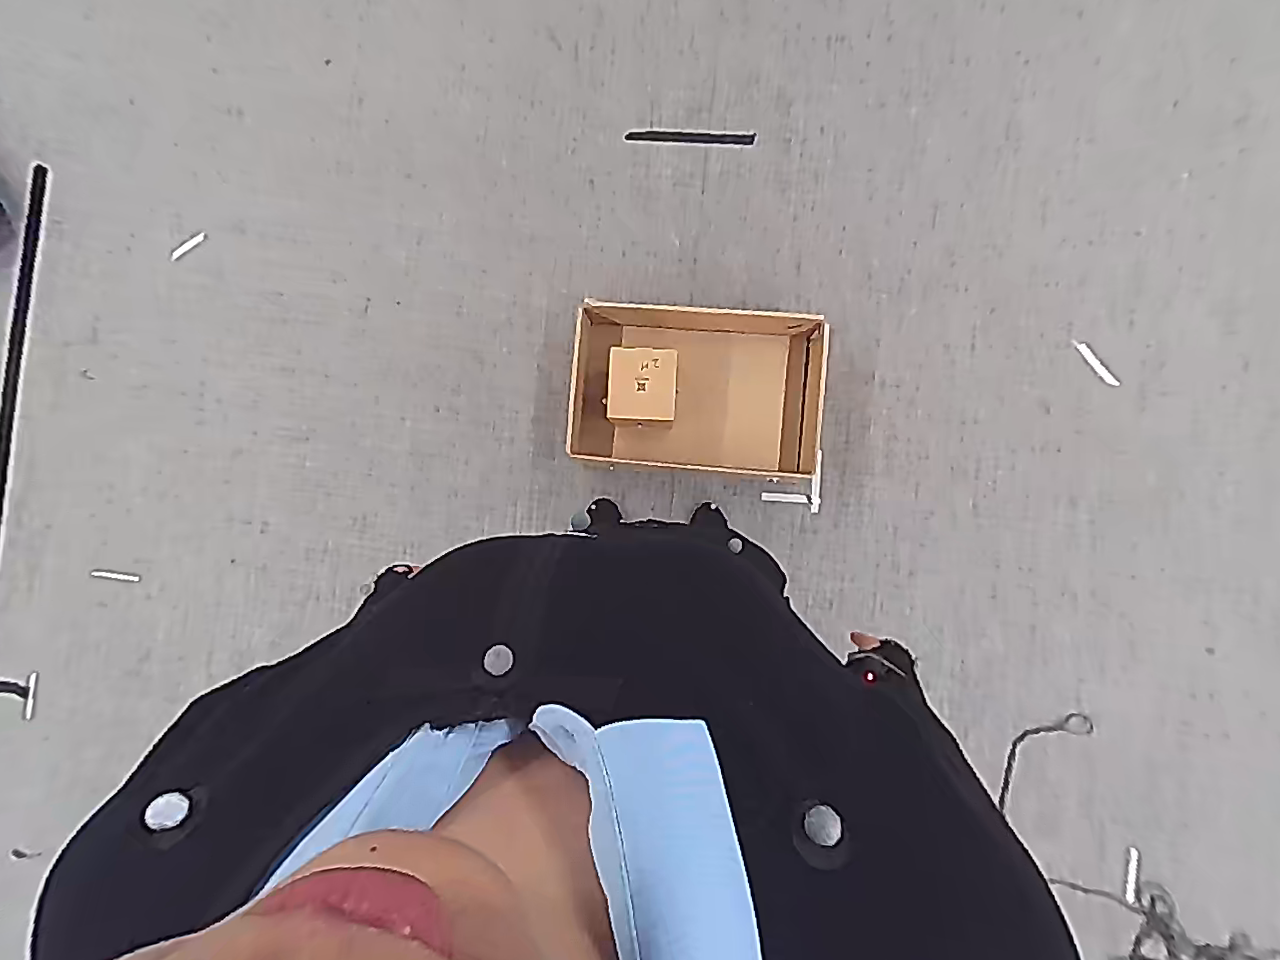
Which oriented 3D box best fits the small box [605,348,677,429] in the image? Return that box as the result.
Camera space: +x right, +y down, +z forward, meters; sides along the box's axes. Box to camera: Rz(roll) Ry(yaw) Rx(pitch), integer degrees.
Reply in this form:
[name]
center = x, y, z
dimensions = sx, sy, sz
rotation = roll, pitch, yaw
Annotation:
[small box]
center = 0.008, -0.227, 1.385
dimensions = 0.168, 0.176, 0.179
rotation = 3, 89, 3
